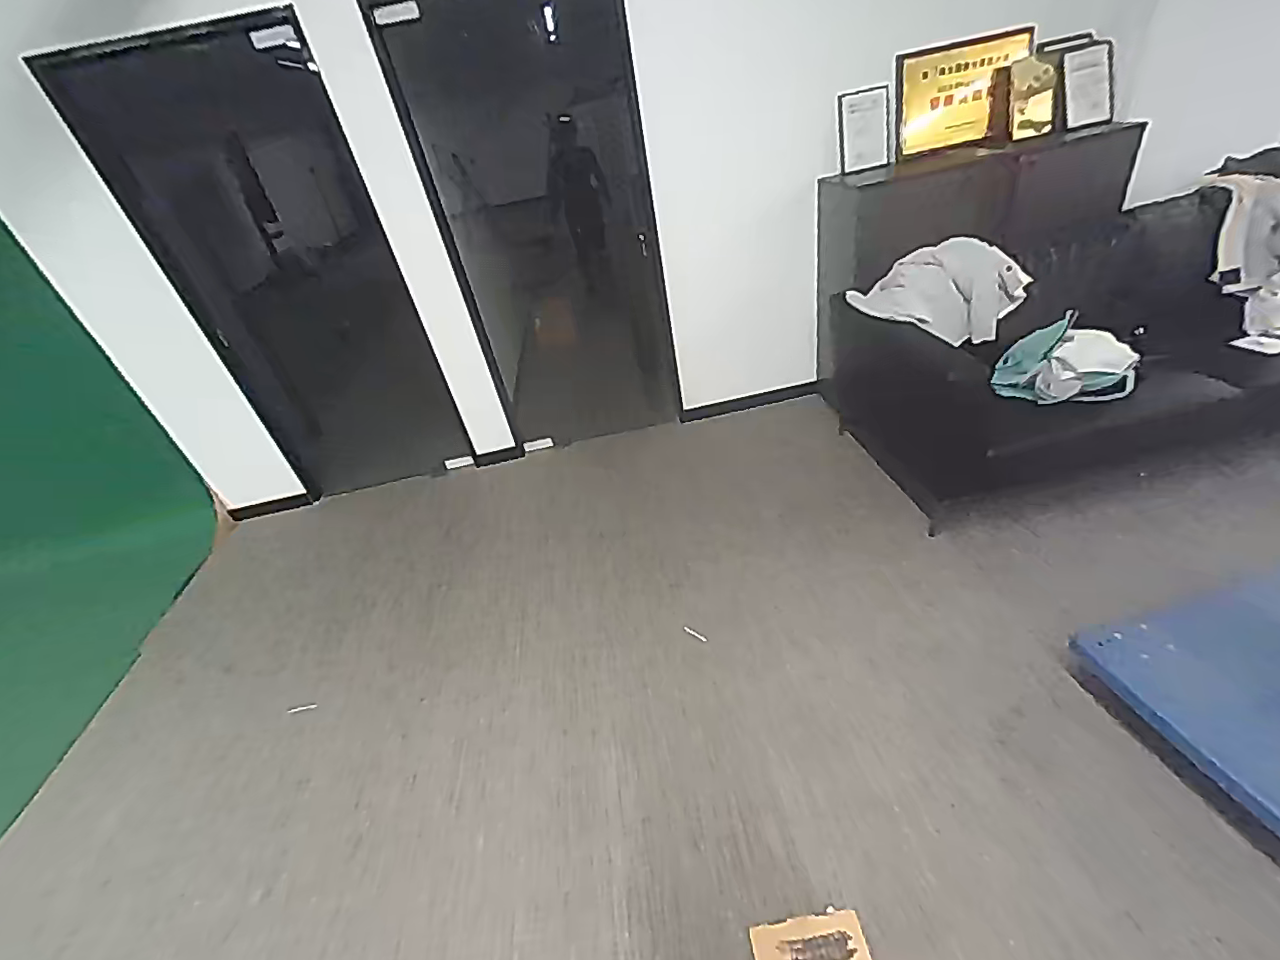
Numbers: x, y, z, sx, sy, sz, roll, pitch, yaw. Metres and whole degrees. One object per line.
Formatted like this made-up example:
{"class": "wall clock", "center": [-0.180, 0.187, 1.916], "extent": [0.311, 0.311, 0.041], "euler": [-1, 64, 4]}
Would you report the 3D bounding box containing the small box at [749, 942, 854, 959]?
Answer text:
{"class": "small box", "center": [0.287, 0.905, 0.892], "extent": [0.179, 0.176, 0.168], "euler": [-11, 35, 1]}
